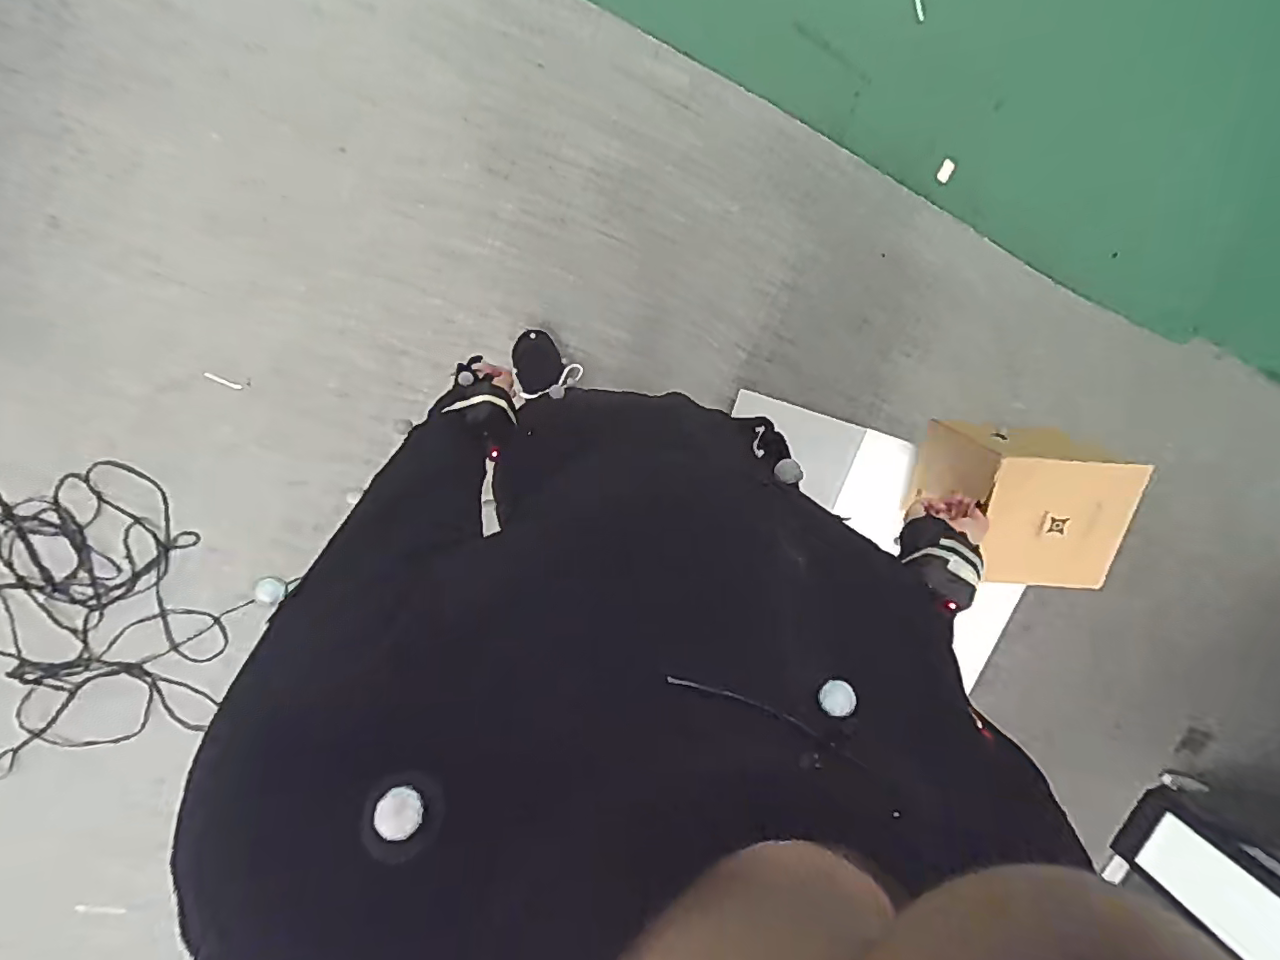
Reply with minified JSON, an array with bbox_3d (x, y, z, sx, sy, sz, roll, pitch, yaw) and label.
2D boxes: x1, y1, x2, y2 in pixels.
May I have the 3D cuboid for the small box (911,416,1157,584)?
[{"bbox_3d":[0.484,0.018,0.701,0.179,0.176,0.168,1,112,-1],"label":"small box"}]
